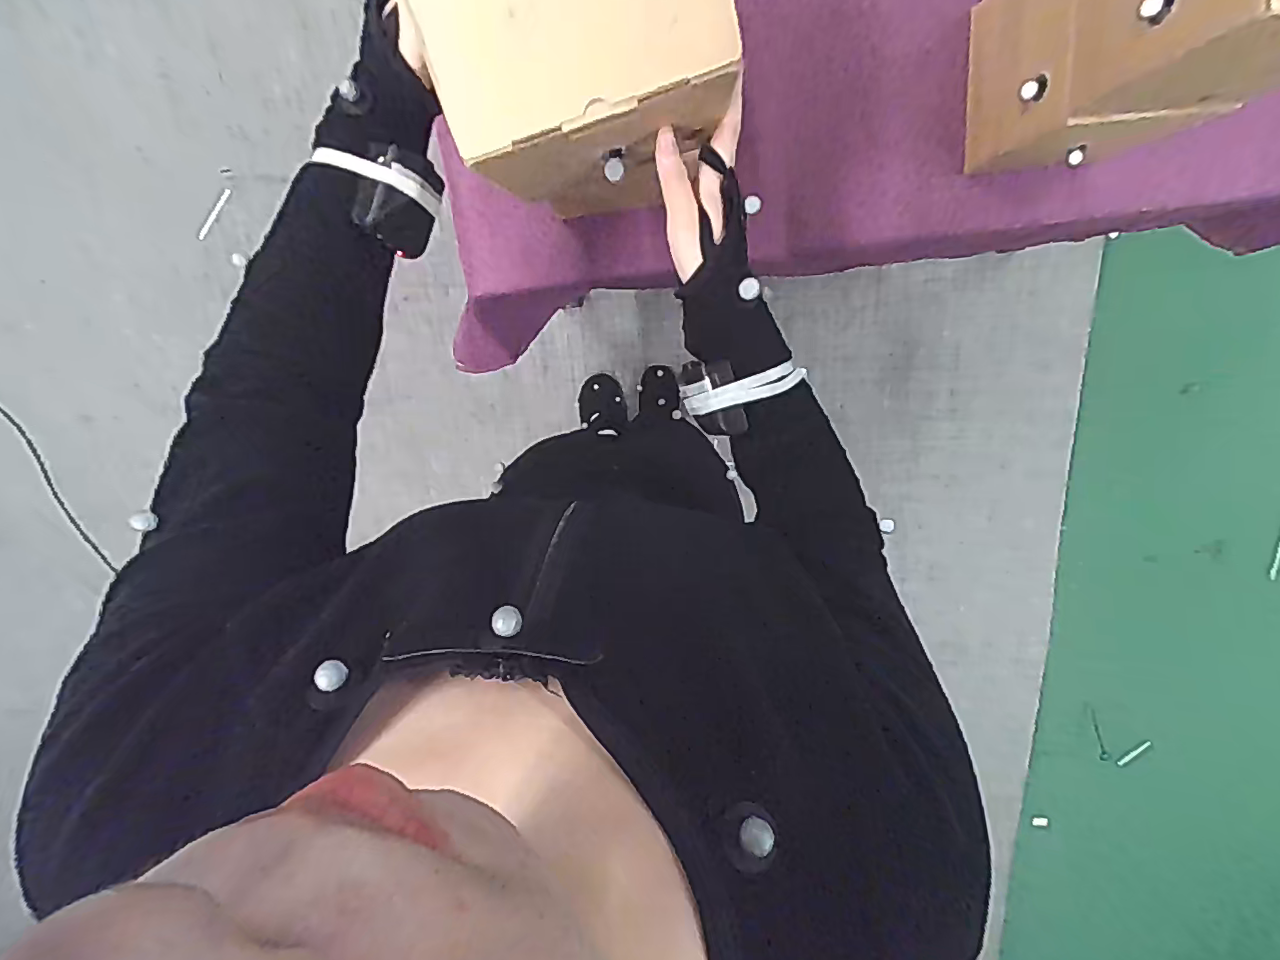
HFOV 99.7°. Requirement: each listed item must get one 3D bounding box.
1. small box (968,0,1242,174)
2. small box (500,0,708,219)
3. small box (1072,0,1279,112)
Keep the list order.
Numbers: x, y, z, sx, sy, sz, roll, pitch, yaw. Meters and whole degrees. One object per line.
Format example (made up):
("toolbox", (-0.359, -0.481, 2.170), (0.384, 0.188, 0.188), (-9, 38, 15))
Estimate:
("small box", (0.471, -0.436, 0.561), (0.168, 0.176, 0.179), (-5, 104, 1))
("small box", (-0.030, -0.392, 0.574), (0.179, 0.176, 0.168), (-8, 104, 1))
("small box", (0.471, -0.400, 0.402), (0.168, 0.176, 0.179), (-3, 104, 0))
